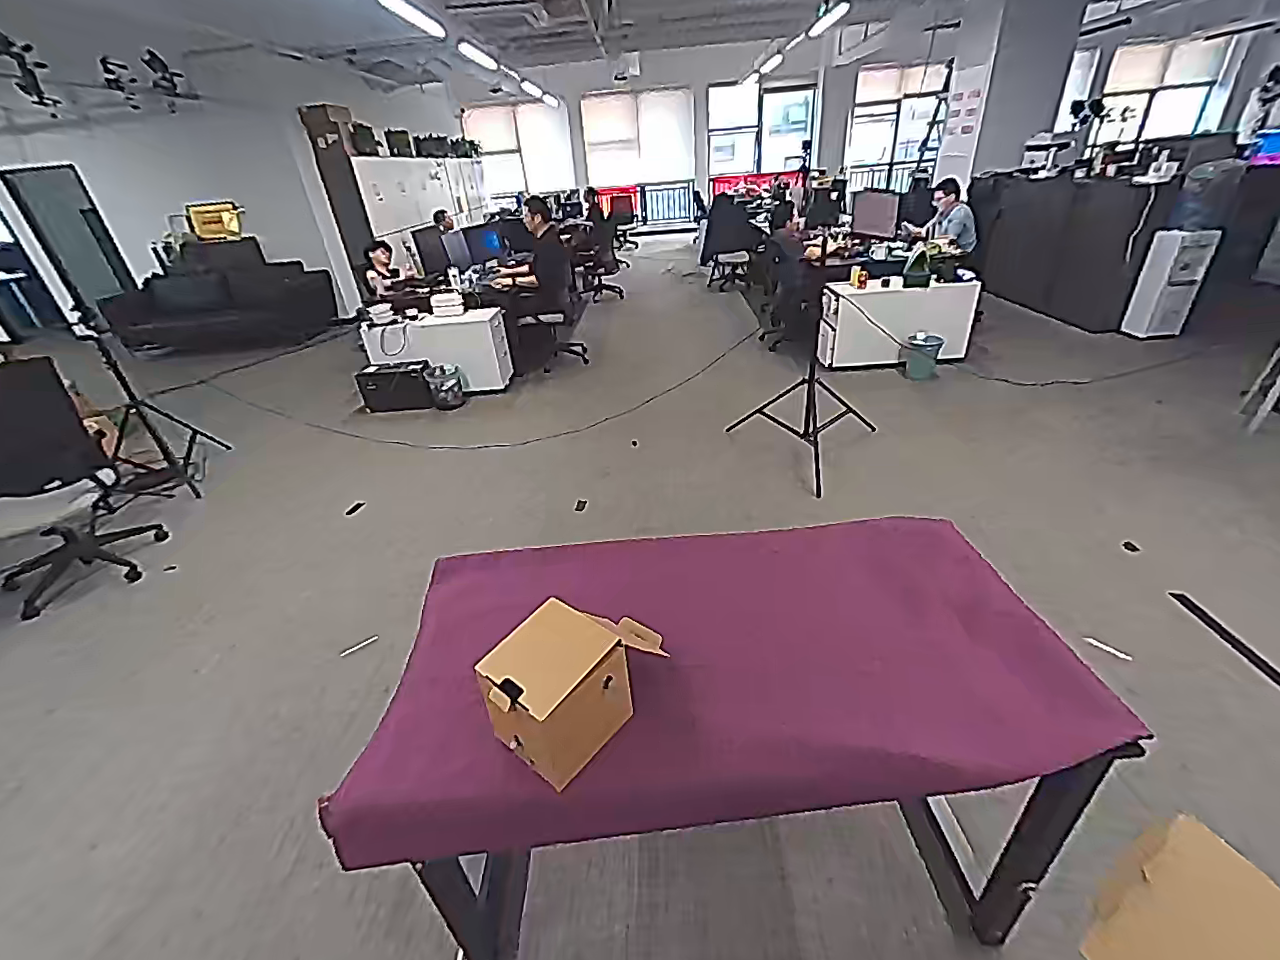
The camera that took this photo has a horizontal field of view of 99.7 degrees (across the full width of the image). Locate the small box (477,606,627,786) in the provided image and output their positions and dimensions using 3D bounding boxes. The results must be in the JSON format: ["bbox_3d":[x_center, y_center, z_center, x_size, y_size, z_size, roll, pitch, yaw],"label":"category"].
[{"bbox_3d":[-0.135,0.348,0.890,0.168,0.176,0.179,18,37,37],"label":"small box"}]
